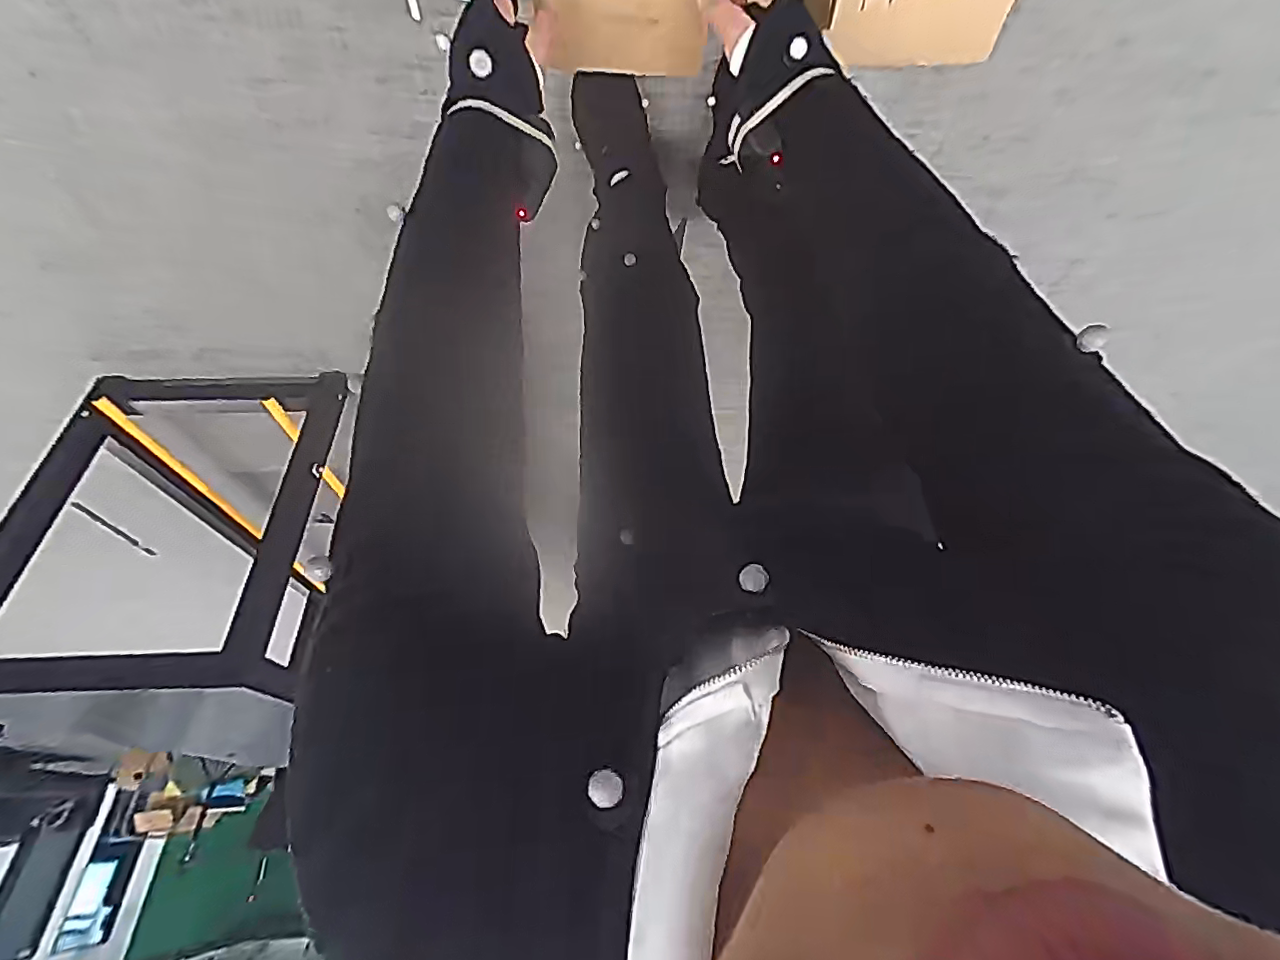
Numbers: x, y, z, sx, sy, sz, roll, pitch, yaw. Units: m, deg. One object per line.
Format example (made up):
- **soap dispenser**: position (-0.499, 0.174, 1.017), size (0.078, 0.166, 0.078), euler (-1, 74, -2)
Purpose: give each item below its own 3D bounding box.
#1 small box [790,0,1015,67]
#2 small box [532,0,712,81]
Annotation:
- **small box**: position (0.258, -0.526, 0.517), size (0.179, 0.176, 0.168), euler (-3, 147, -2)
- **small box**: position (-0.017, -0.516, 0.506), size (0.168, 0.176, 0.179), euler (0, 149, -5)
